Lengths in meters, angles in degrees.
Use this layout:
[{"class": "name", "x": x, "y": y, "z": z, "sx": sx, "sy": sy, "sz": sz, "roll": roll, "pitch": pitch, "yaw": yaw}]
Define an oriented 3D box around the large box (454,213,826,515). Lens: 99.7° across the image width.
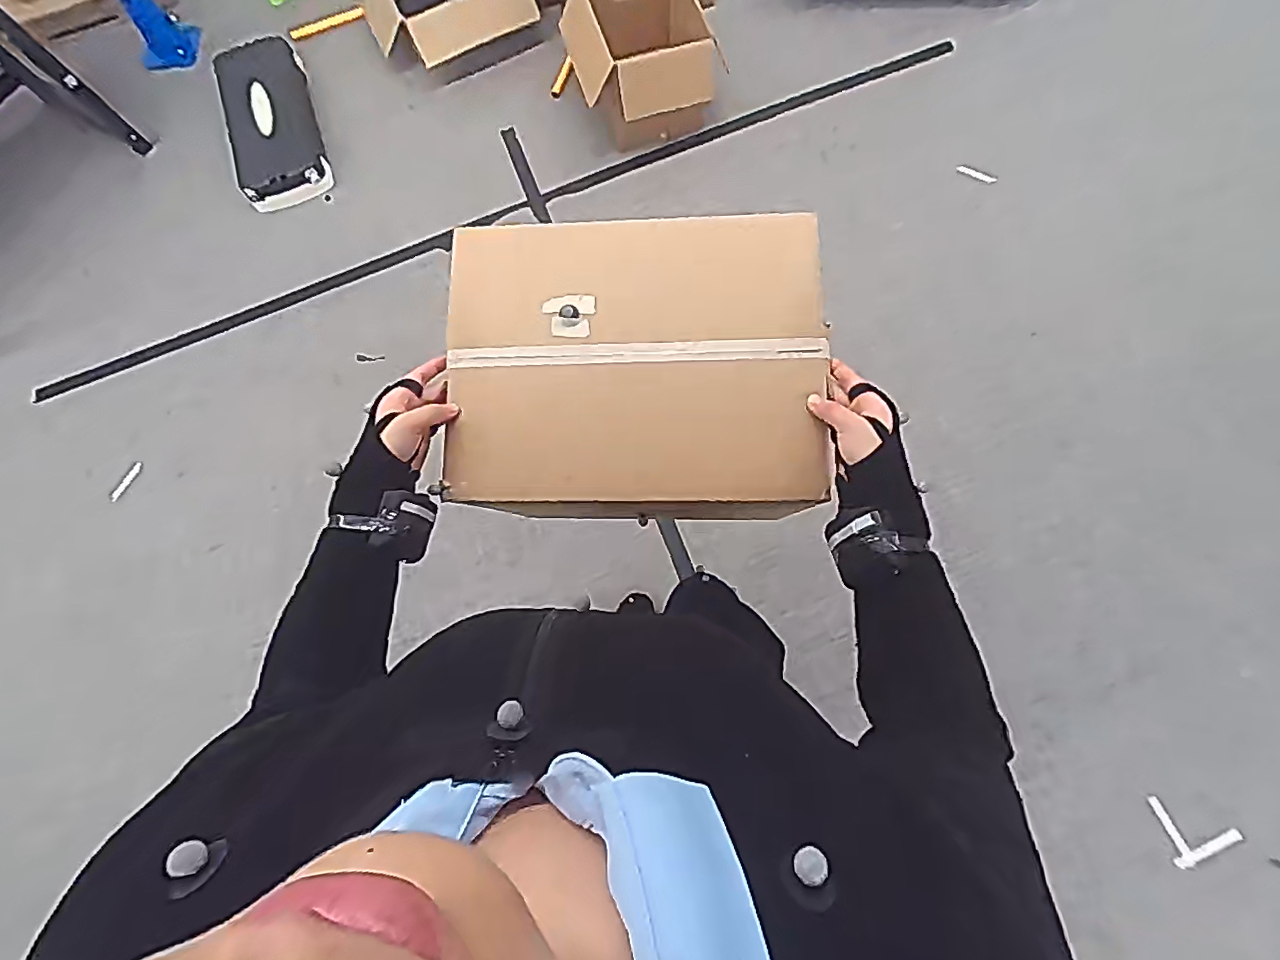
[{"class": "large box", "x": 0.006, "y": -0.118, "z": 0.738, "sx": 0.408, "sy": 0.320, "sz": 0.320, "roll": -1, "pitch": 81, "yaw": 5}]
